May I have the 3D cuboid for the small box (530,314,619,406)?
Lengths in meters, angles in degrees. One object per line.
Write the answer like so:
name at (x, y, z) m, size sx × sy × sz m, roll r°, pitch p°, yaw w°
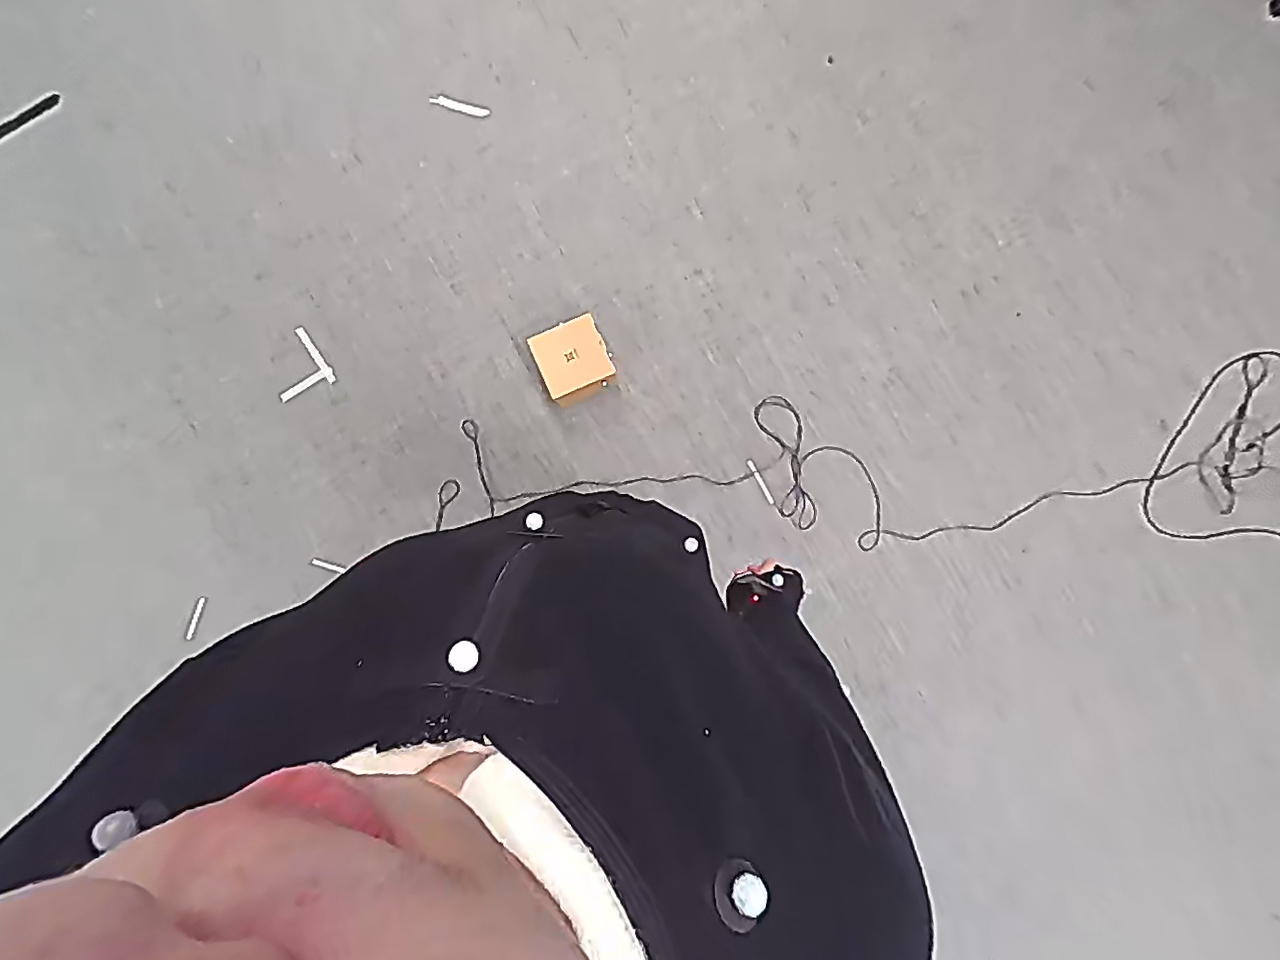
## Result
small box at (-0.165, -0.306, 1.425) m, size 0.179 × 0.176 × 0.168 m, roll -24°, pitch 91°, yaw -1°
